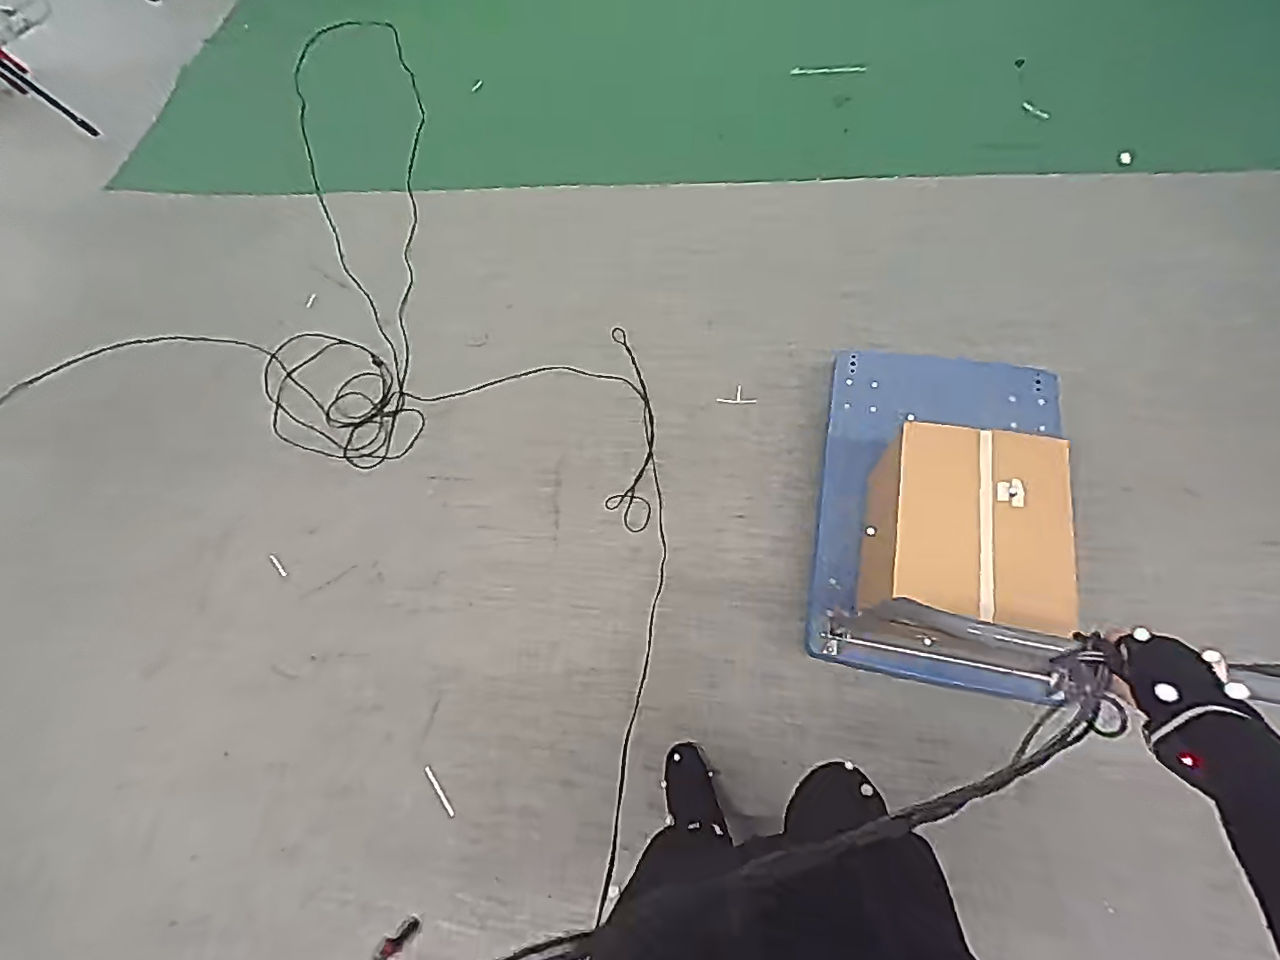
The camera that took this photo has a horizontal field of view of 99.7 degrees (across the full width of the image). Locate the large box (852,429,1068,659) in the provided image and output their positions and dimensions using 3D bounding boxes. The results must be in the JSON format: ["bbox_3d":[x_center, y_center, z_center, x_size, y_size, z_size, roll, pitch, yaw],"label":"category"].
[{"bbox_3d":[0.670,0.151,1.193,0.320,0.320,0.408,10,68,11],"label":"large box"}]
